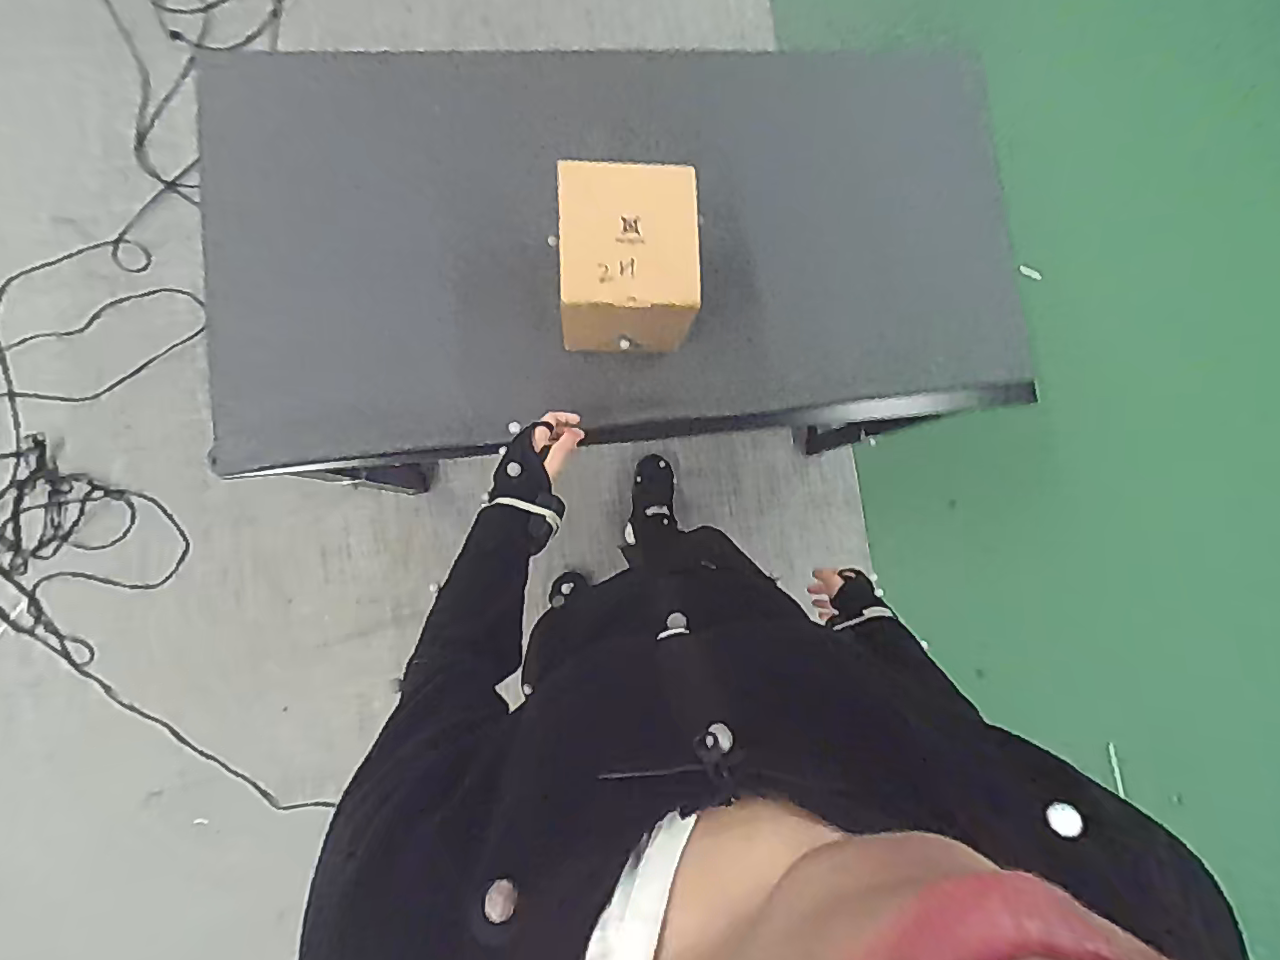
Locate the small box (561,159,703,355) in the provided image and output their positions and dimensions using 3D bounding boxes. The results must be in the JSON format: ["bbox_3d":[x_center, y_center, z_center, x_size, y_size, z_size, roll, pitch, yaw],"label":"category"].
[{"bbox_3d":[-0.018,-0.277,0.703,0.168,0.176,0.179,-1,84,-6],"label":"small box"}]
